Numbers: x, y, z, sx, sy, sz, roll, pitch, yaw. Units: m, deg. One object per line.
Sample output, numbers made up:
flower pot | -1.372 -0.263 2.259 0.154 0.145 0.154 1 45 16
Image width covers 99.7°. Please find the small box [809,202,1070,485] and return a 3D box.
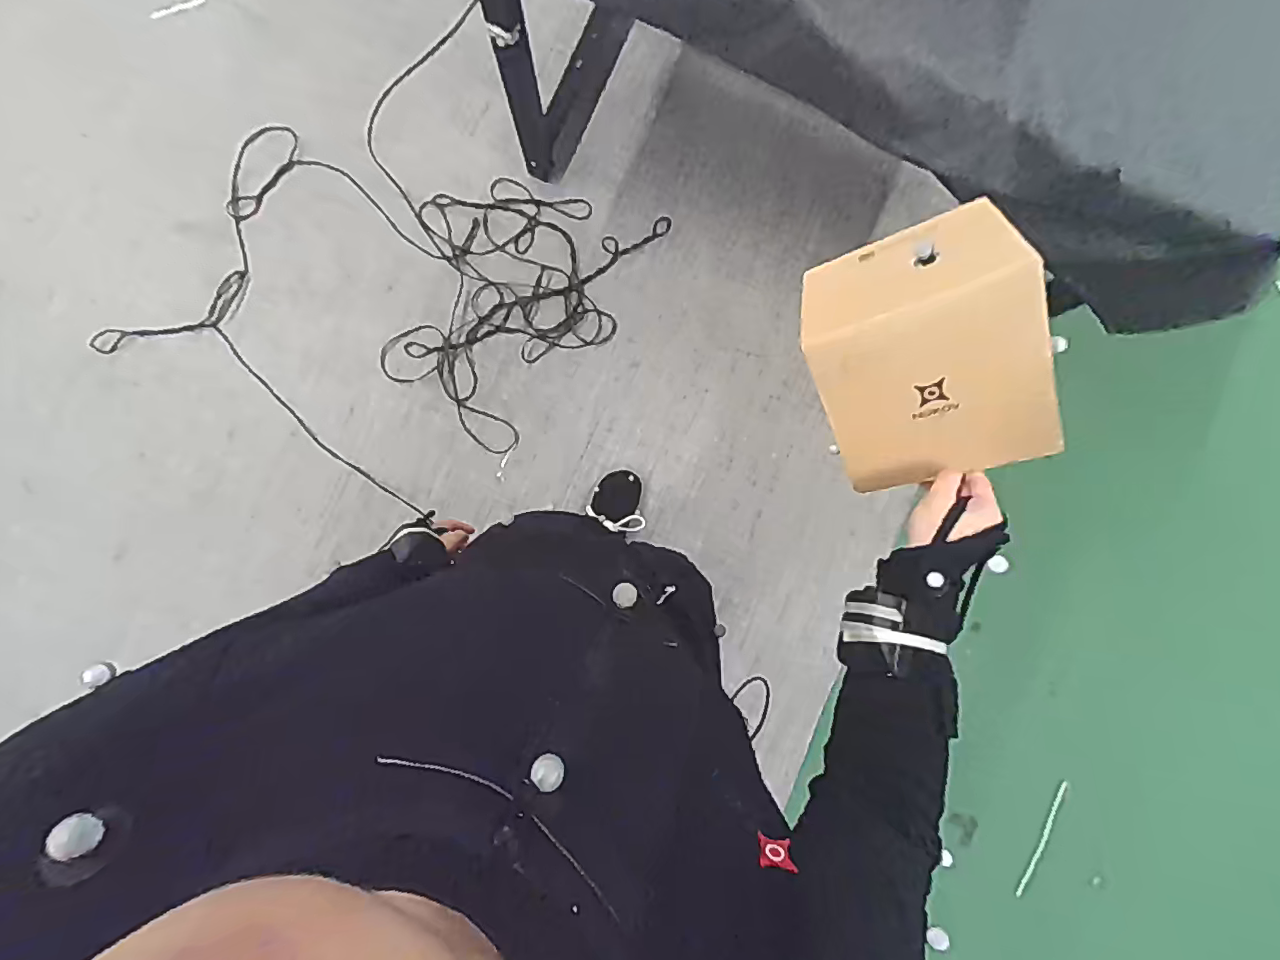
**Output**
small box | 0.260 -0.128 0.496 0.168 0.176 0.179 -16 124 28
